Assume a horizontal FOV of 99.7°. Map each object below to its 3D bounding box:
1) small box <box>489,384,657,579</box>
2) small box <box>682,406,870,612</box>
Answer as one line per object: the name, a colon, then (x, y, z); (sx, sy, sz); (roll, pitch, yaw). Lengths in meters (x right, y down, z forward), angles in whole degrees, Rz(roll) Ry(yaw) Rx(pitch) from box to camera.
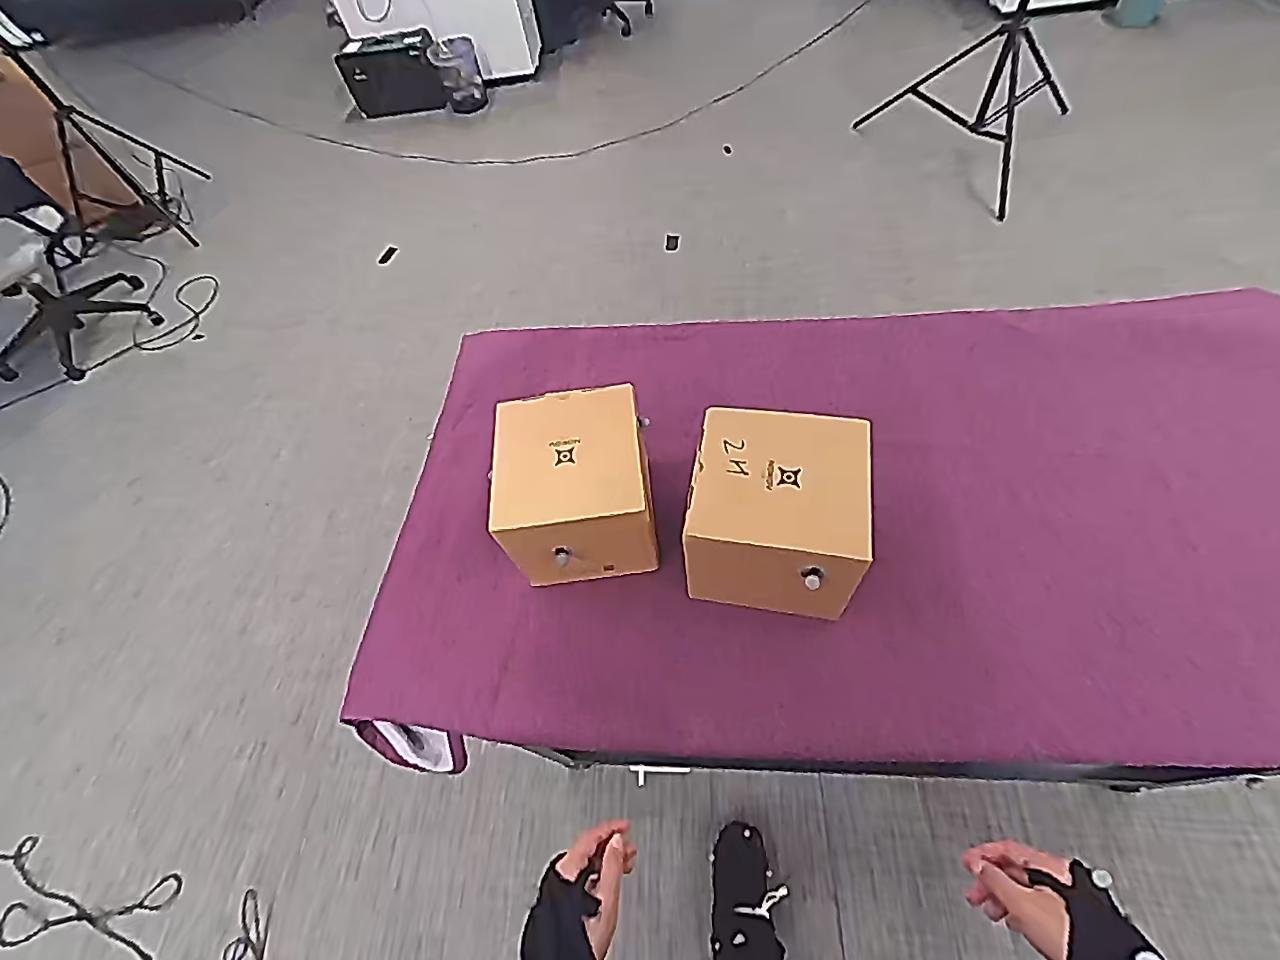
small box: (-0.075, 0.012, 0.667); (0.168, 0.176, 0.179); (-9, 57, 3)
small box: (0.150, 0.038, 0.616); (0.179, 0.176, 0.168); (6, 57, 12)
